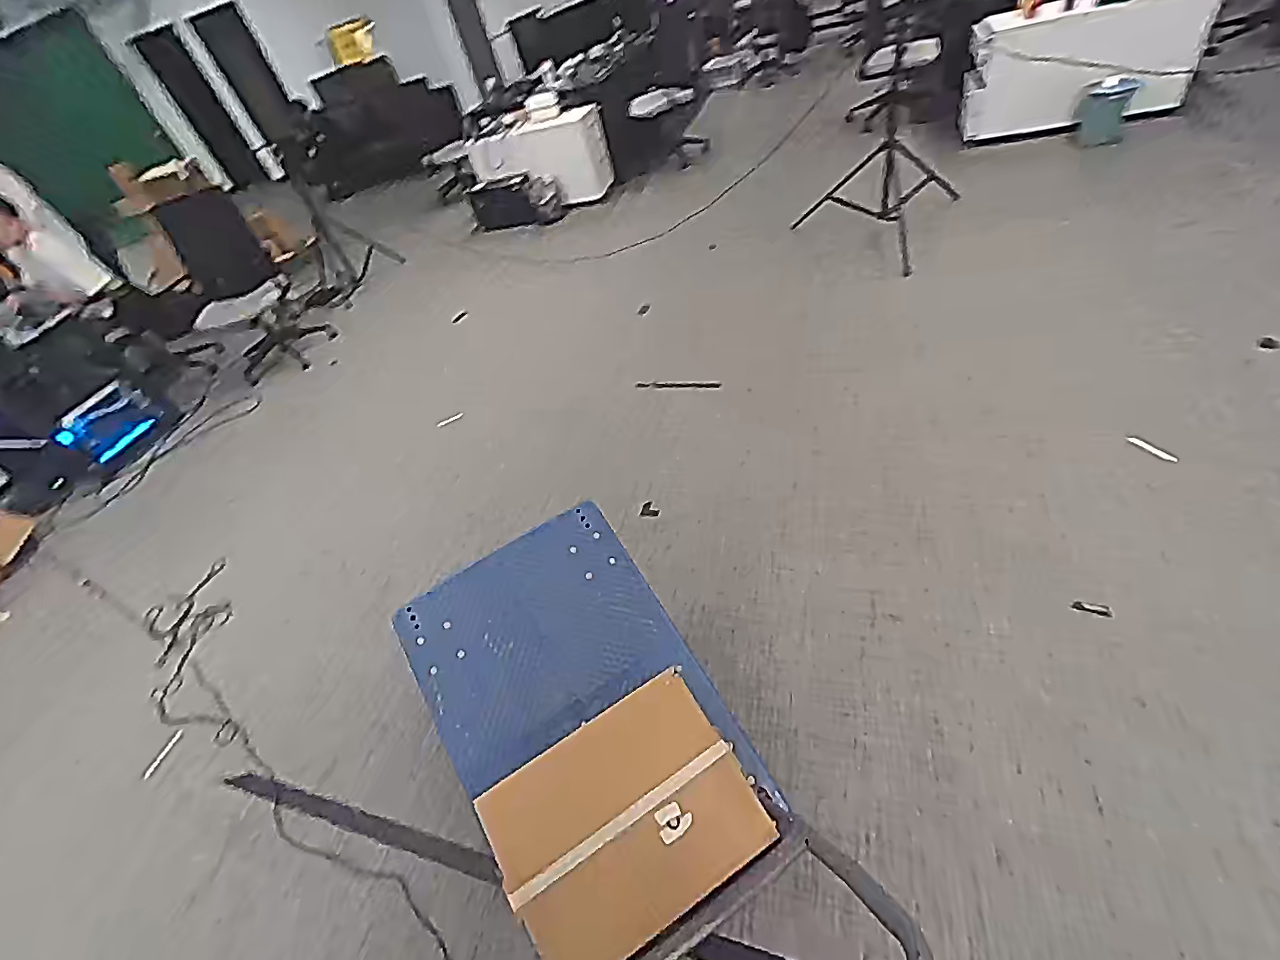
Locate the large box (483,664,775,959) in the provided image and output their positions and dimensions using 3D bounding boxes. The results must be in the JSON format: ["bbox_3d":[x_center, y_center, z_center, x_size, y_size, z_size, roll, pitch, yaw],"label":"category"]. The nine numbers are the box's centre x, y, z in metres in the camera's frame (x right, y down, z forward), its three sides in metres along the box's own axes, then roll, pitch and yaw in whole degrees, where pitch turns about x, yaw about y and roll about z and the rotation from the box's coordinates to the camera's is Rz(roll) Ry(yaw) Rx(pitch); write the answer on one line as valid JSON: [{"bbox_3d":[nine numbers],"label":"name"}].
[{"bbox_3d":[-0.019,0.619,1.034,0.408,0.320,0.320,-31,69,-14],"label":"large box"}]
